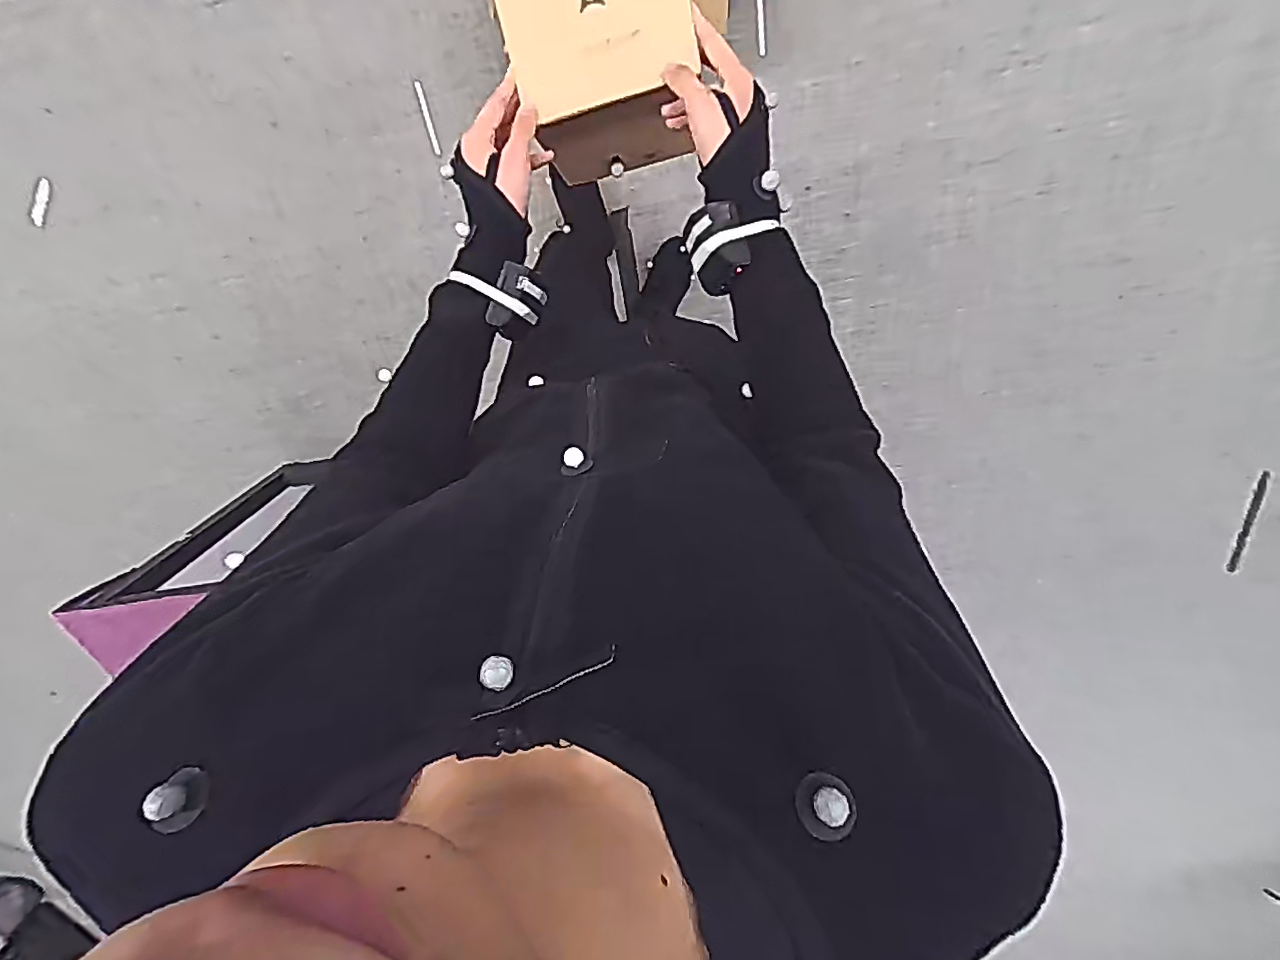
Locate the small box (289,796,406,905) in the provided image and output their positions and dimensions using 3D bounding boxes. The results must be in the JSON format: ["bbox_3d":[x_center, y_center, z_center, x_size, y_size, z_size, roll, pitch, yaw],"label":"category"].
[{"bbox_3d":[-0.712,0.918,1.347,0.179,0.176,0.168,-10,117,7],"label":"small box"}]

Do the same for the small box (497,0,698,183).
[{"bbox_3d":[-0.038,-0.442,0.553,0.168,0.176,0.179,-11,99,9],"label":"small box"}]
